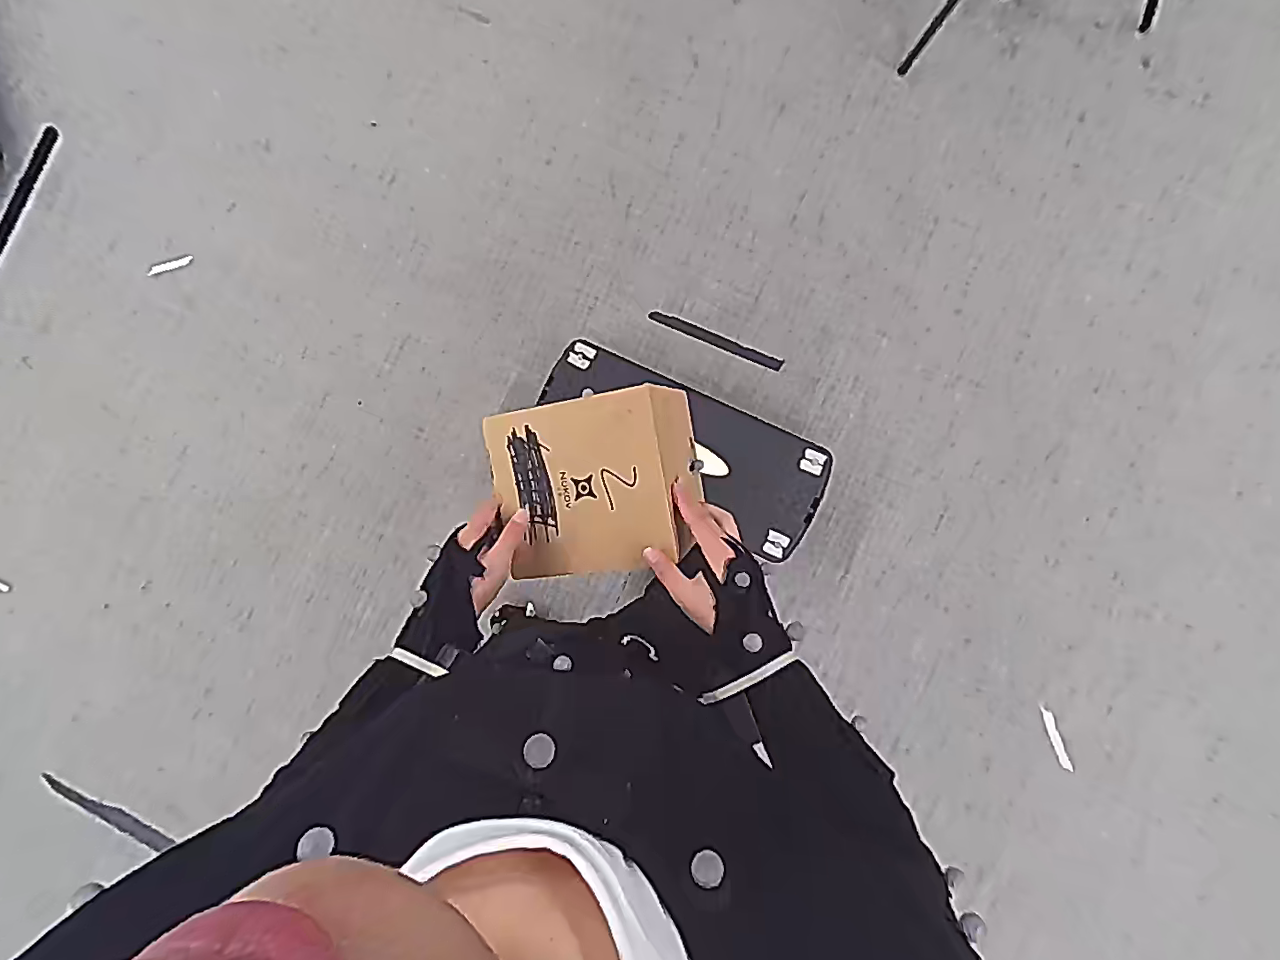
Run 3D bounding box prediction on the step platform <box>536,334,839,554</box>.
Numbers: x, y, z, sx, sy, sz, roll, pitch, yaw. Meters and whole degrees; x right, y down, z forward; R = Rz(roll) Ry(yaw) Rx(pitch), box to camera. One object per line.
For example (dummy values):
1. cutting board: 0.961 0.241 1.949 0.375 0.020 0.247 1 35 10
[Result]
1. step platform: 0.105 -0.083 1.281 0.684 0.204 0.286 25 89 6
